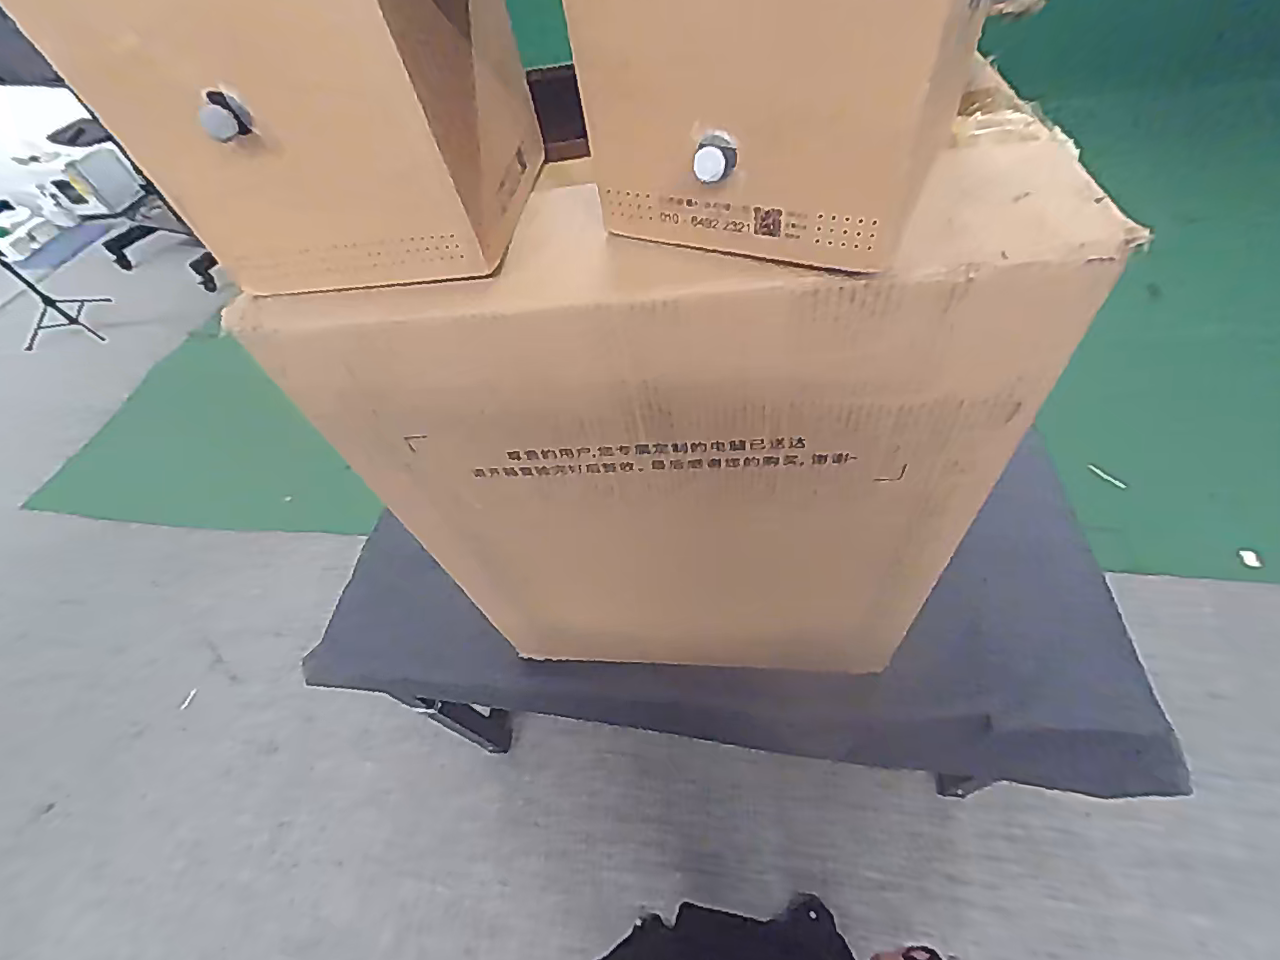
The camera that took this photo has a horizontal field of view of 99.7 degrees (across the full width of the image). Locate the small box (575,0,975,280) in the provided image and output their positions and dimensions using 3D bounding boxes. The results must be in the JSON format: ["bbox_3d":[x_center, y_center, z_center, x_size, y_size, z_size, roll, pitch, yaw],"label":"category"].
[{"bbox_3d":[0.076,-0.237,0.286,0.168,0.176,0.179,19,59,23],"label":"small box"}]

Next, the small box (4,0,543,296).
[{"bbox_3d":[-0.180,-0.232,0.332,0.179,0.176,0.168,-2,54,11],"label":"small box"}]
